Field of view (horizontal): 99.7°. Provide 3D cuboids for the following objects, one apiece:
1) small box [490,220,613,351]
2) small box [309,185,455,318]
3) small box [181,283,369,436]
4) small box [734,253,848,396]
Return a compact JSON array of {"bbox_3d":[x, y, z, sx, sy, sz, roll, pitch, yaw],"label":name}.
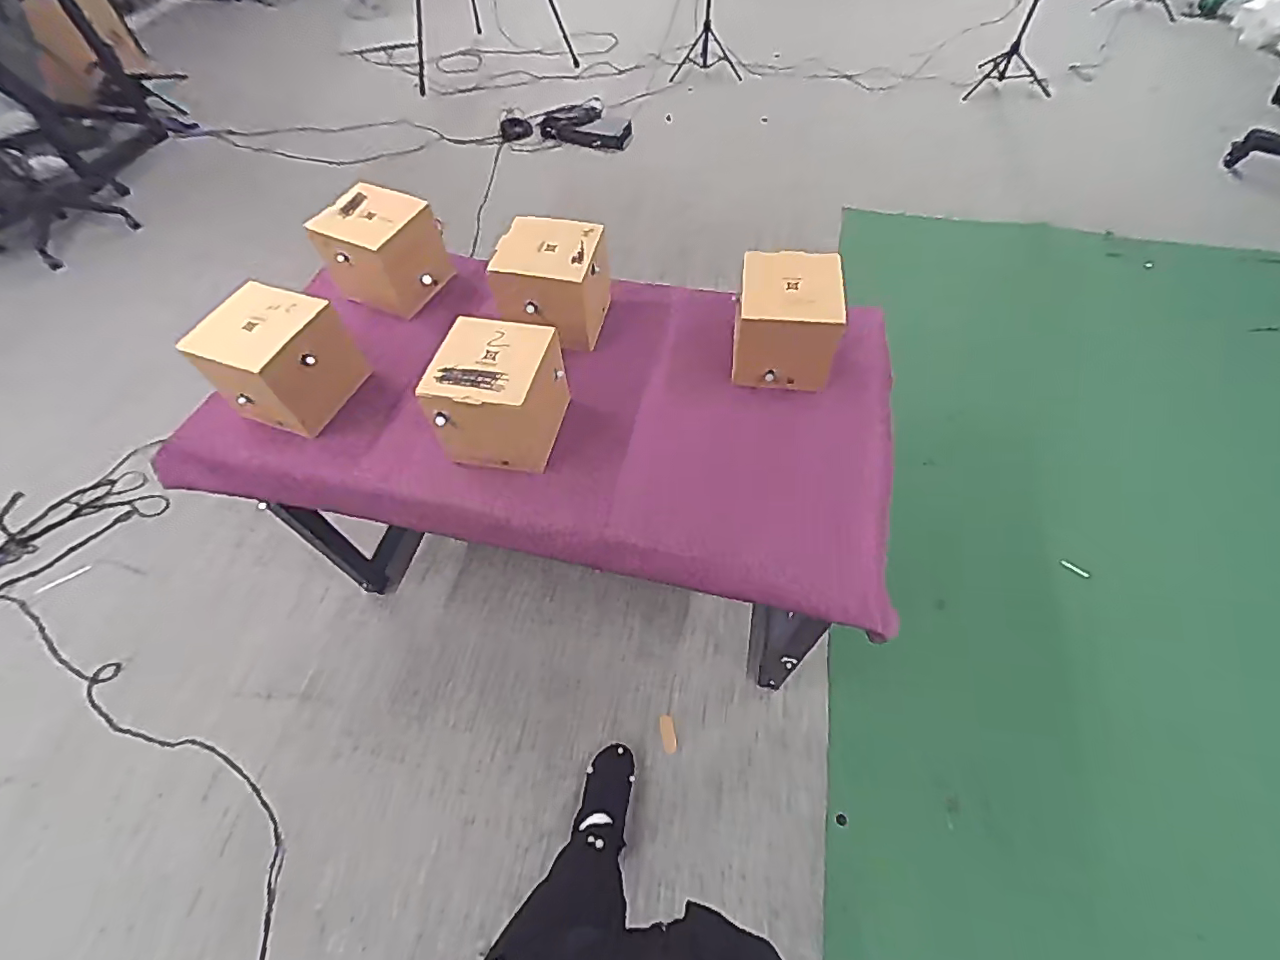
[{"bbox_3d":[-0.157,-0.366,1.032,0.179,0.176,0.168,9,59,8],"label":"small box"},{"bbox_3d":[-0.510,-0.458,1.097,0.179,0.176,0.168,22,61,13],"label":"small box"},{"bbox_3d":[-0.610,-0.202,0.933,0.168,0.176,0.179,17,59,11],"label":"small box"},{"bbox_3d":[0.260,-0.275,0.962,0.168,0.176,0.179,5,59,7],"label":"small box"}]
